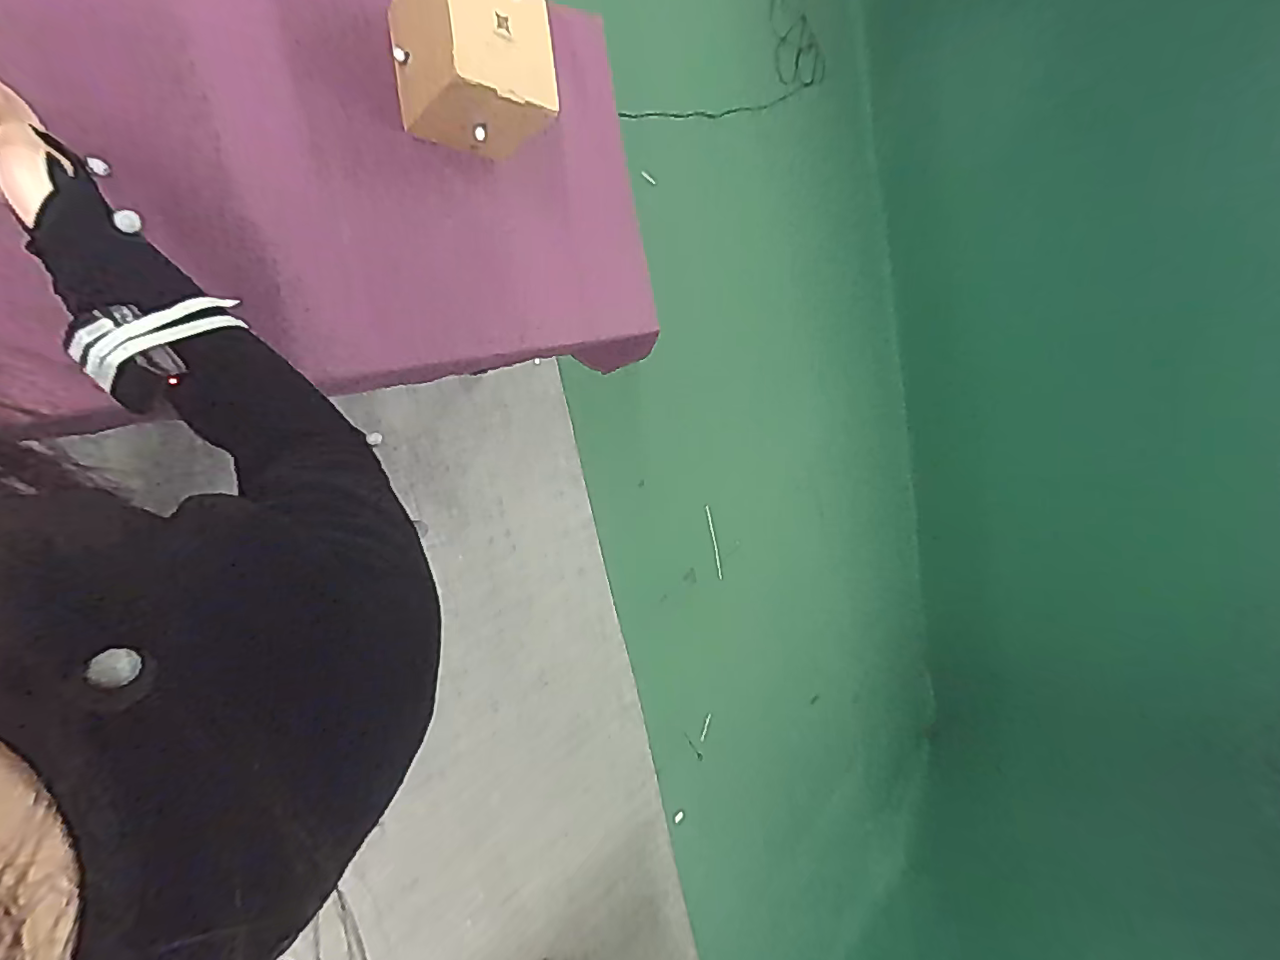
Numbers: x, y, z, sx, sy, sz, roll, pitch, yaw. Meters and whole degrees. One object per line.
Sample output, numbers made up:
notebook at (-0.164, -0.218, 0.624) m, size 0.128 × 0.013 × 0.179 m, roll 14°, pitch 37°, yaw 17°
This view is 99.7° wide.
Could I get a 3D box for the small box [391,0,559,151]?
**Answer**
small box at (-0.240, -0.616, 0.786) m, size 0.168 × 0.176 × 0.179 m, roll -13°, pitch 100°, yaw -44°
